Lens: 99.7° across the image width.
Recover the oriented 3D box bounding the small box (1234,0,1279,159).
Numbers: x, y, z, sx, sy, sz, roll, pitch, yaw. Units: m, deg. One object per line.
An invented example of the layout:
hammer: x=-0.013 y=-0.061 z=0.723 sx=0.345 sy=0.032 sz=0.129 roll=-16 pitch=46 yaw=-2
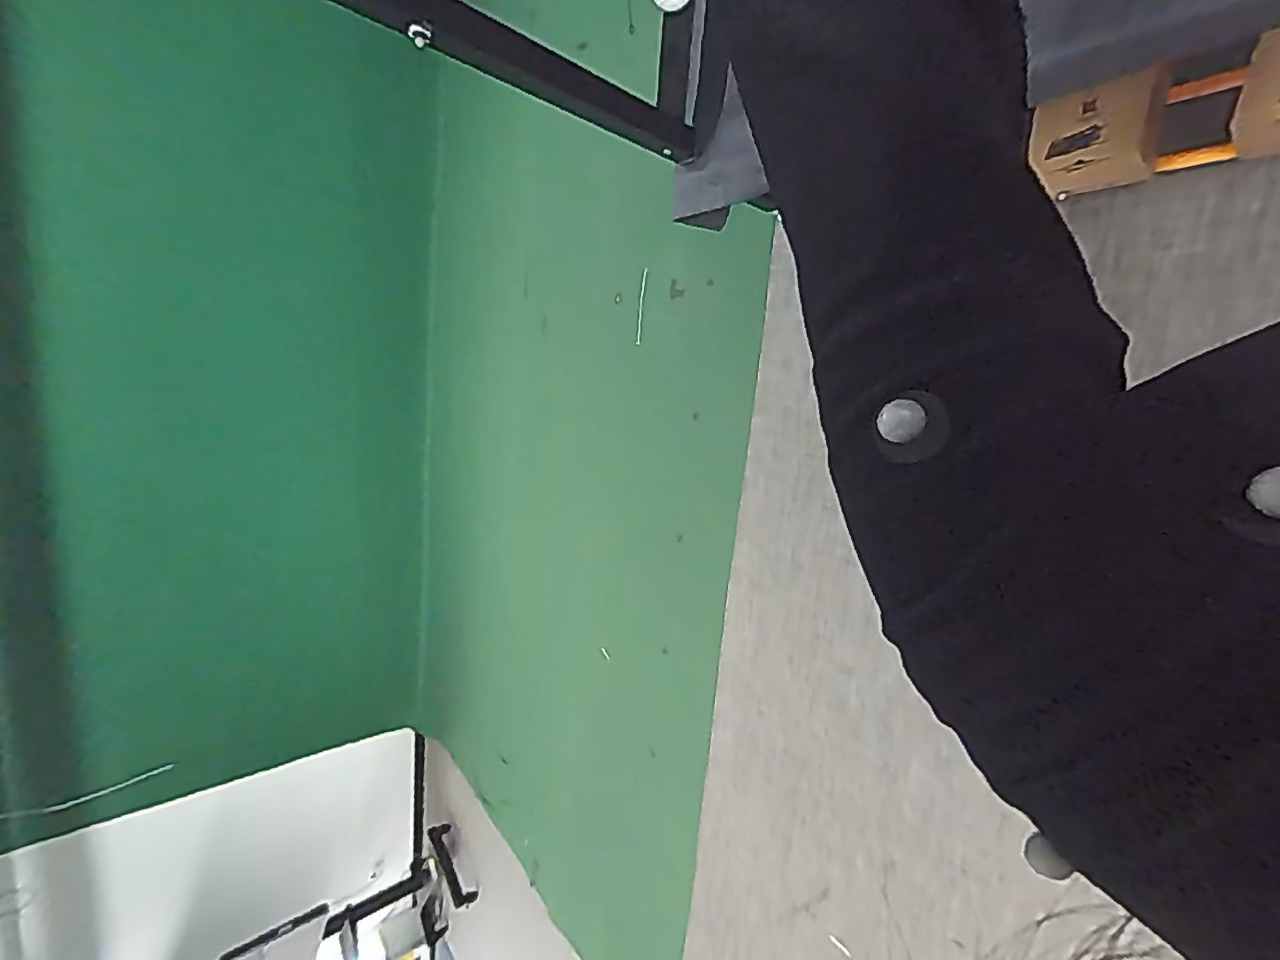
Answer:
small box: x=1.053 y=-0.620 z=0.821 sx=0.168 sy=0.176 sz=0.179 roll=22 pitch=111 yaw=48
